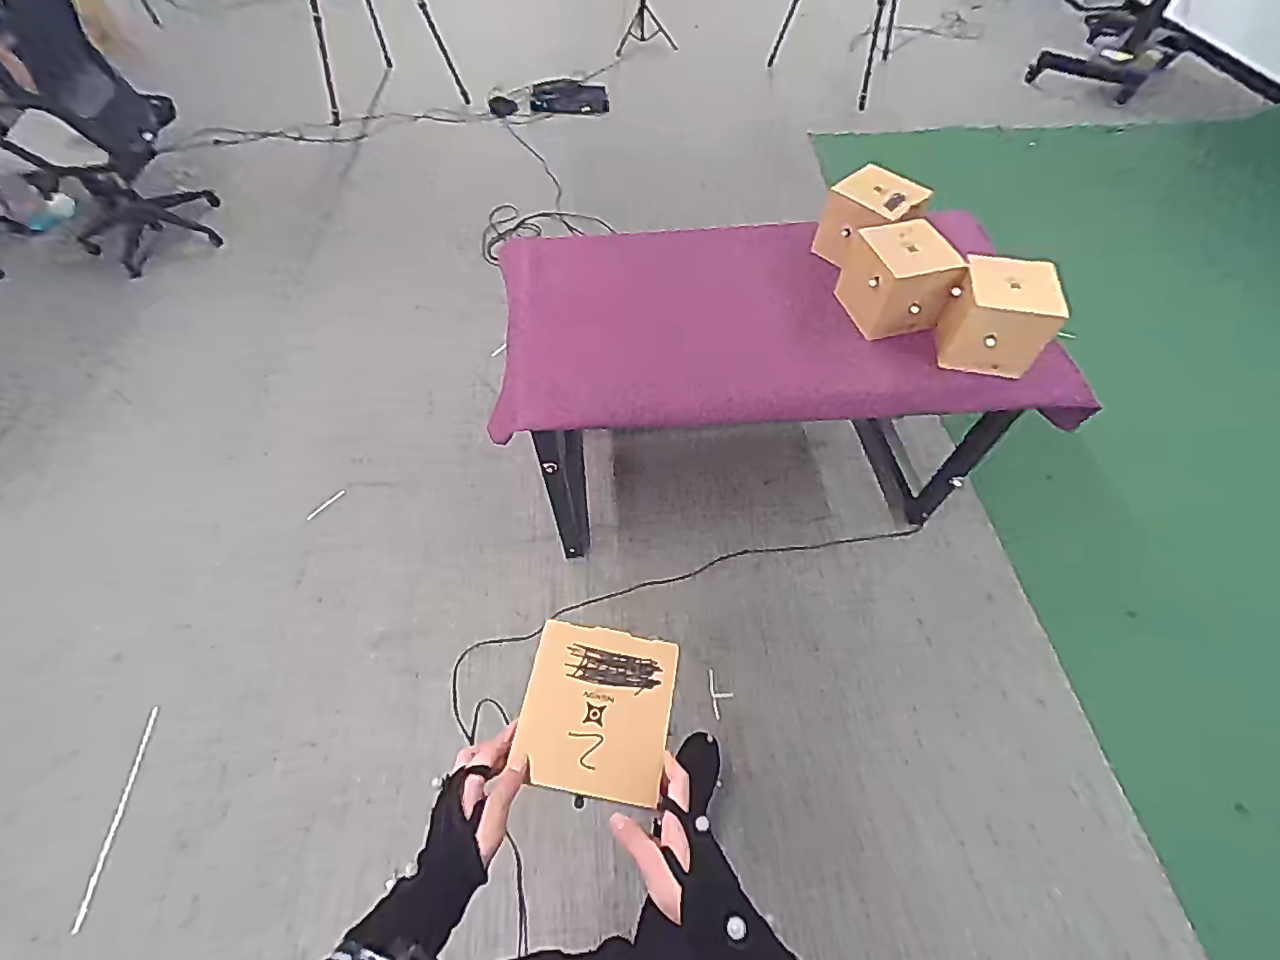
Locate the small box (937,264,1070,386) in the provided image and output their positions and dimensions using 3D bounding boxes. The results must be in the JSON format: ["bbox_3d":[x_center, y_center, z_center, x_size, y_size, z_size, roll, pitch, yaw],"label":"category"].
[{"bbox_3d":[0.742,-0.319,1.126,0.168,0.176,0.179,11,55,8],"label":"small box"}]
